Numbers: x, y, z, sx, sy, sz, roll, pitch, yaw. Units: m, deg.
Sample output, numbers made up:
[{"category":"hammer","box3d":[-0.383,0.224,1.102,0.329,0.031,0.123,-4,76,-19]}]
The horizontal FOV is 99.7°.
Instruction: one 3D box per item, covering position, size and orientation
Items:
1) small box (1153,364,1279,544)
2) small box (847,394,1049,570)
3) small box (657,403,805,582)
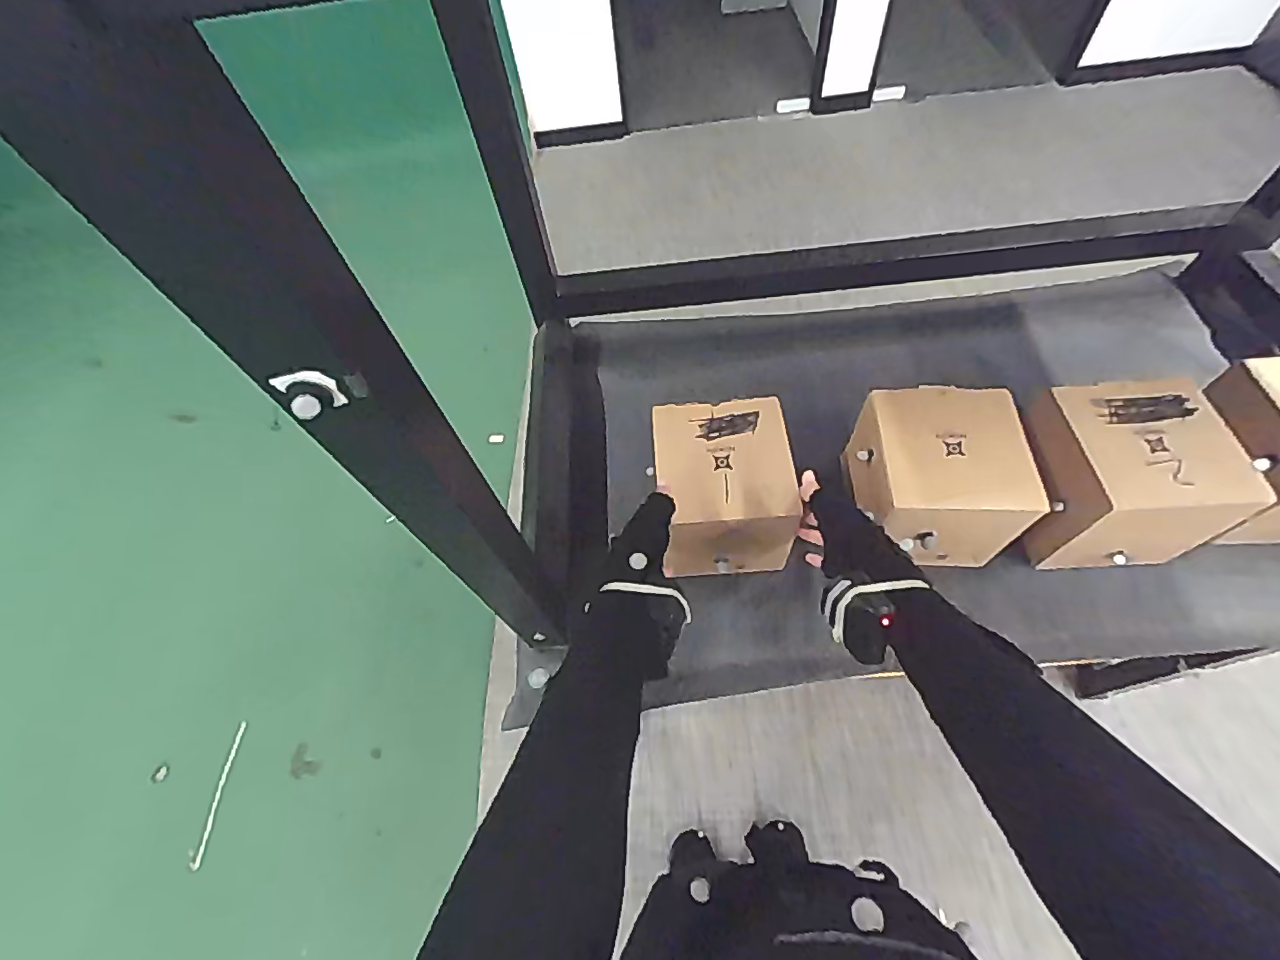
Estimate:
[{"category":"small box","box3d":[0.820,-0.027,0.676,0.168,0.176,0.179,-2,57,5]},{"category":"small box","box3d":[0.381,0.008,0.708,0.168,0.176,0.179,1,58,7]},{"category":"small box","box3d":[0.111,0.021,0.728,0.168,0.176,0.179,-5,59,4]}]
